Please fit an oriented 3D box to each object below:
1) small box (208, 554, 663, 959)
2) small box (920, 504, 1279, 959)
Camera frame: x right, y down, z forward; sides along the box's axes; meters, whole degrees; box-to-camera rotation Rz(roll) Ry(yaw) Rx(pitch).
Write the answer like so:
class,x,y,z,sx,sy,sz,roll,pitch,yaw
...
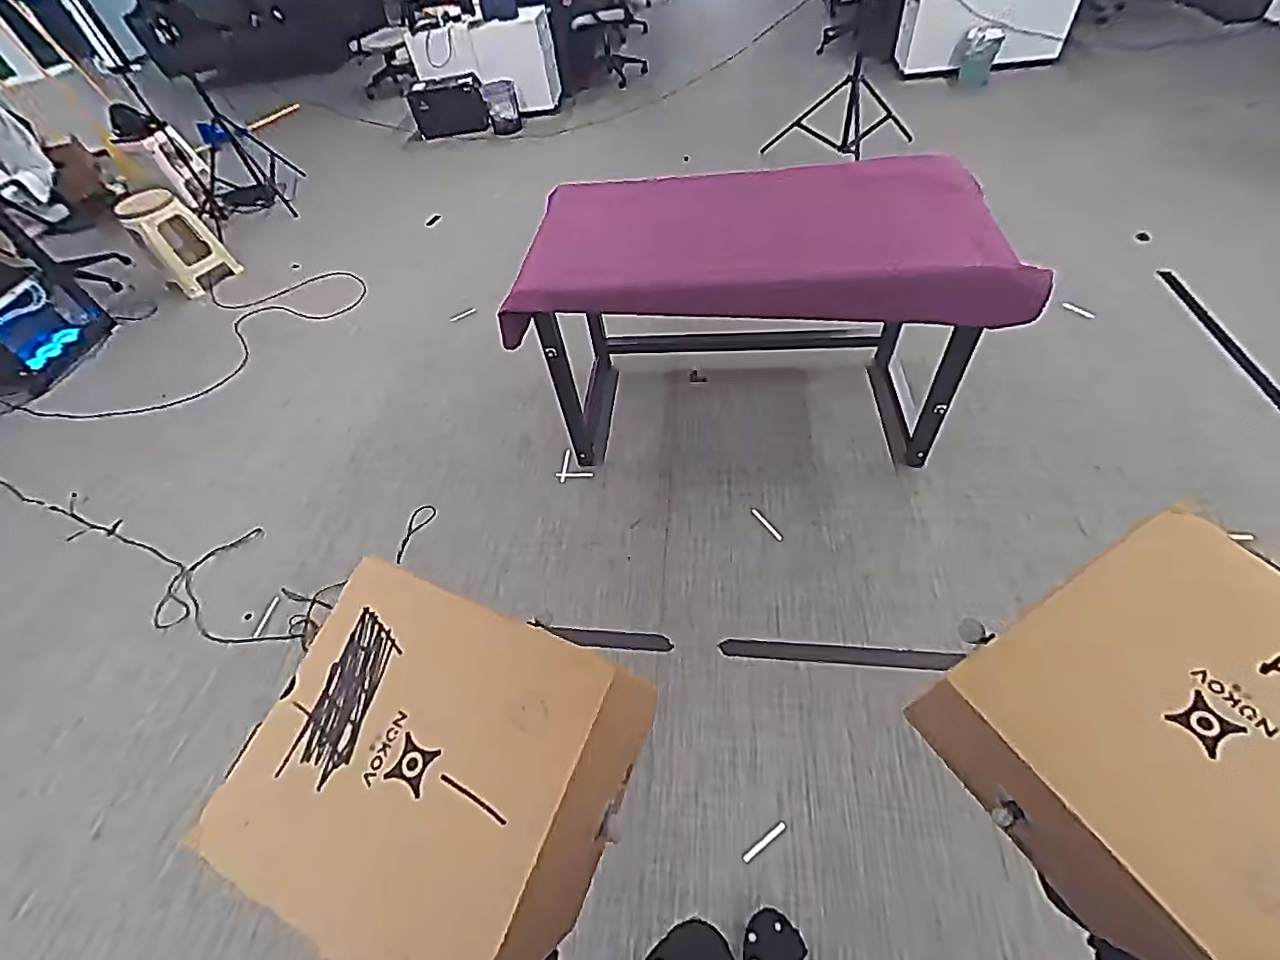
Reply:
class,x,y,z,sx,sy,sz,roll,pitch,yaw
small box,-0.101,0.172,0.348,0.179,0.176,0.168,18,70,18
small box,0.303,0.153,0.334,0.179,0.176,0.168,-35,58,-5
